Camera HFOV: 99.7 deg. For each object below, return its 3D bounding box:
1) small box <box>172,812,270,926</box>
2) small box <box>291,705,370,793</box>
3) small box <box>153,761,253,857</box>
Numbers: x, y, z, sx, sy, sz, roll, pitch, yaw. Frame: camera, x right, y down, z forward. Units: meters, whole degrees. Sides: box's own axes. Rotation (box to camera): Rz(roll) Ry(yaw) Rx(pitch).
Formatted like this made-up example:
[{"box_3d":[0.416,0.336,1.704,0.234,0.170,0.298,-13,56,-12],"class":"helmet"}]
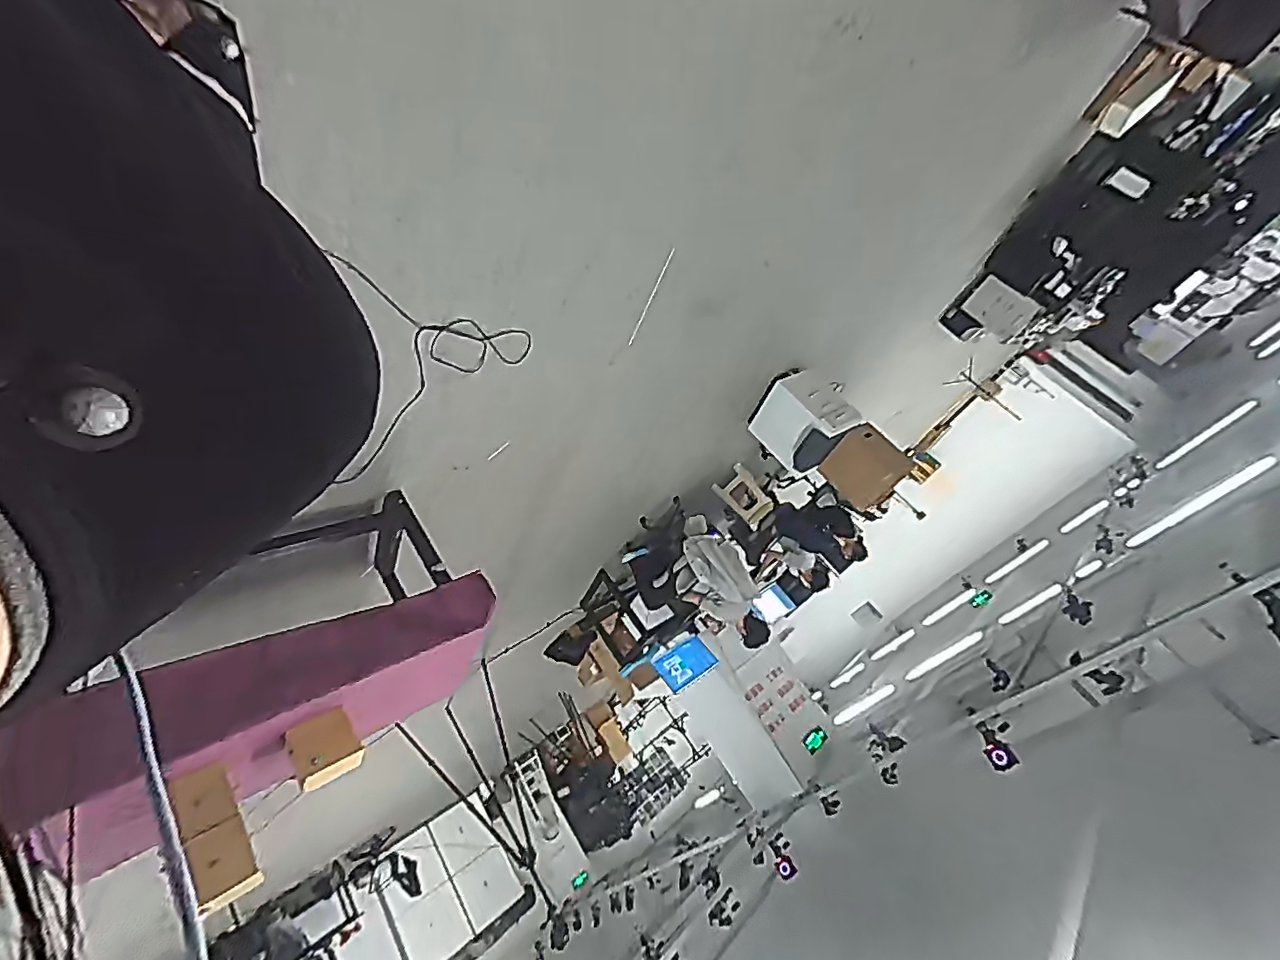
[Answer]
[{"box_3d":[-1.137,1.052,1.468,0.179,0.176,0.168,-19,150,-41],"class":"small box"},{"box_3d":[-1.008,0.868,1.758,0.179,0.176,0.168,-15,148,-43],"class":"small box"},{"box_3d":[-1.235,0.936,1.533,0.179,0.176,0.168,-20,150,-40],"class":"small box"}]
